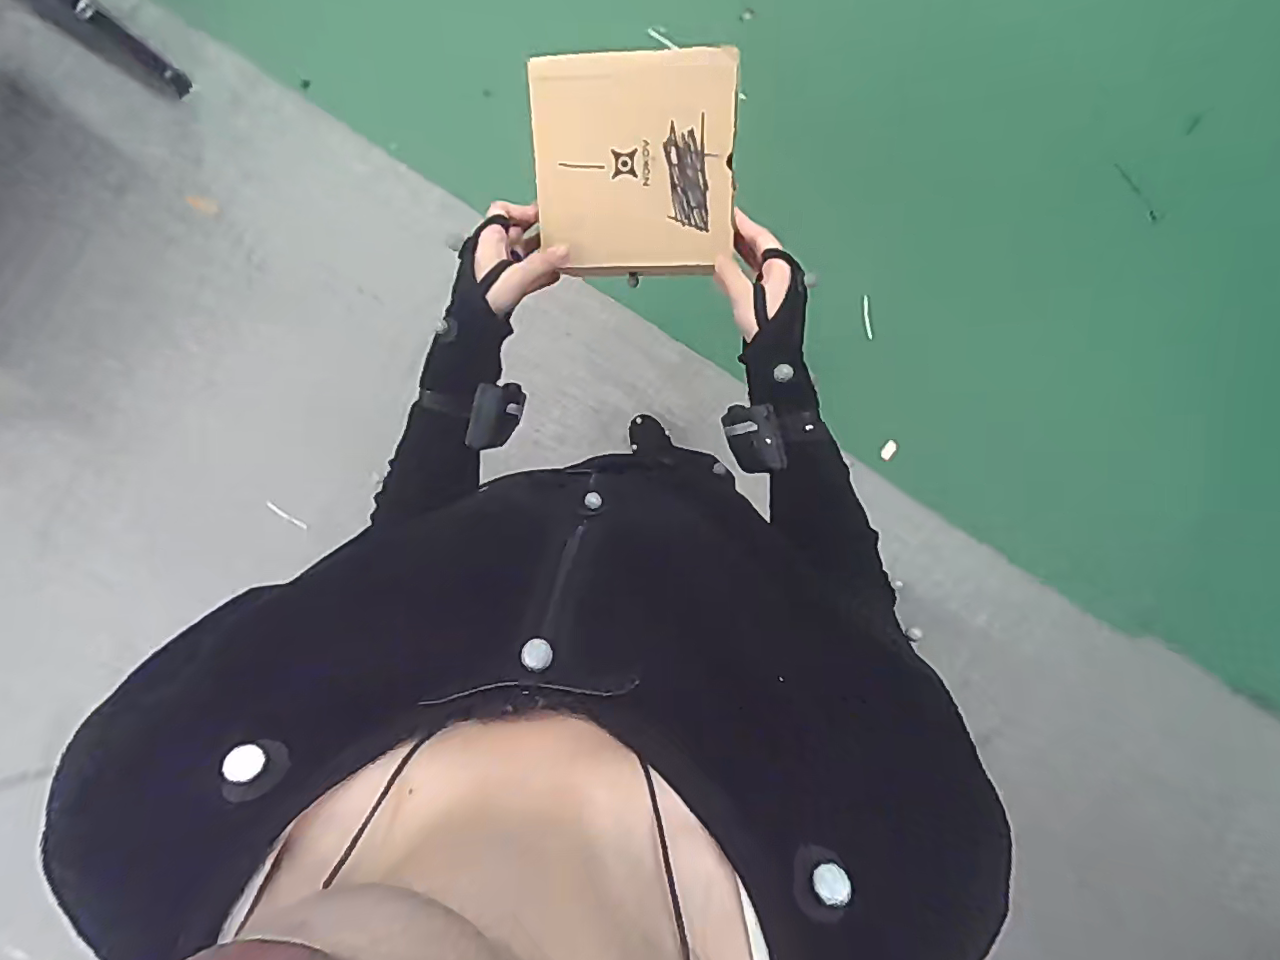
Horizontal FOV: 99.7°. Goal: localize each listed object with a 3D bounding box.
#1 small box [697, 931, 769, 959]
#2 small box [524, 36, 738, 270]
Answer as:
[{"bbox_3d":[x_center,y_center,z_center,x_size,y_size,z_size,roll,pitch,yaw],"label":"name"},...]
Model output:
[{"bbox_3d":[0.174,0.913,0.892,0.179,0.176,0.168,37,91,-2],"label":"small box"},{"bbox_3d":[-0.003,-0.301,0.534,0.179,0.176,0.168,0,108,4],"label":"small box"}]
